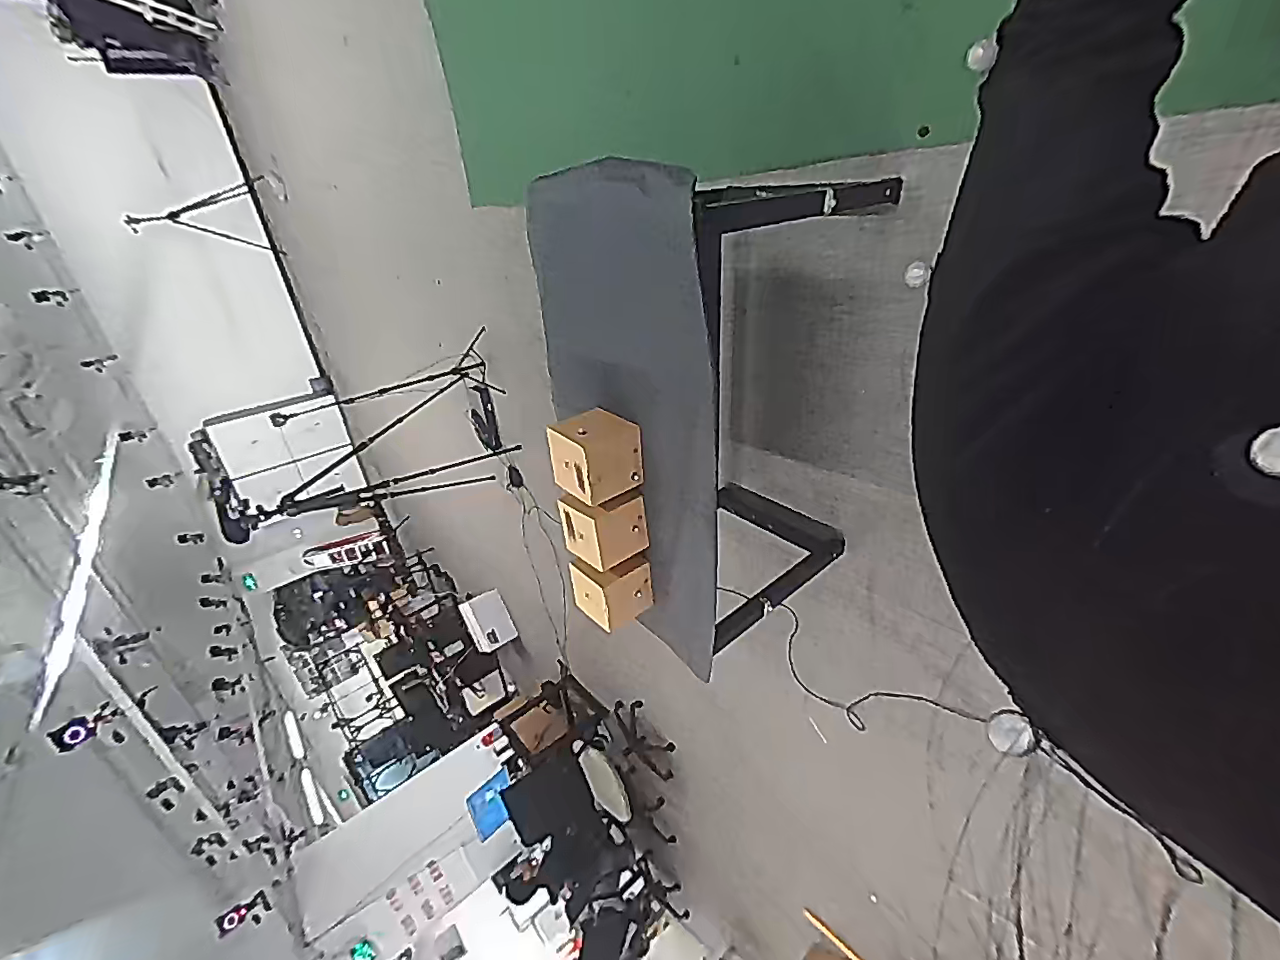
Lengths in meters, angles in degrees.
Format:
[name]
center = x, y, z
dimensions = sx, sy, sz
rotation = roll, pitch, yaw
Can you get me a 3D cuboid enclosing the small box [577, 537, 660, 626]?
[small box]
center = -0.062, 0.290, 1.599
dimensions = 0.179, 0.176, 0.168
rotation = 26, 132, 45
